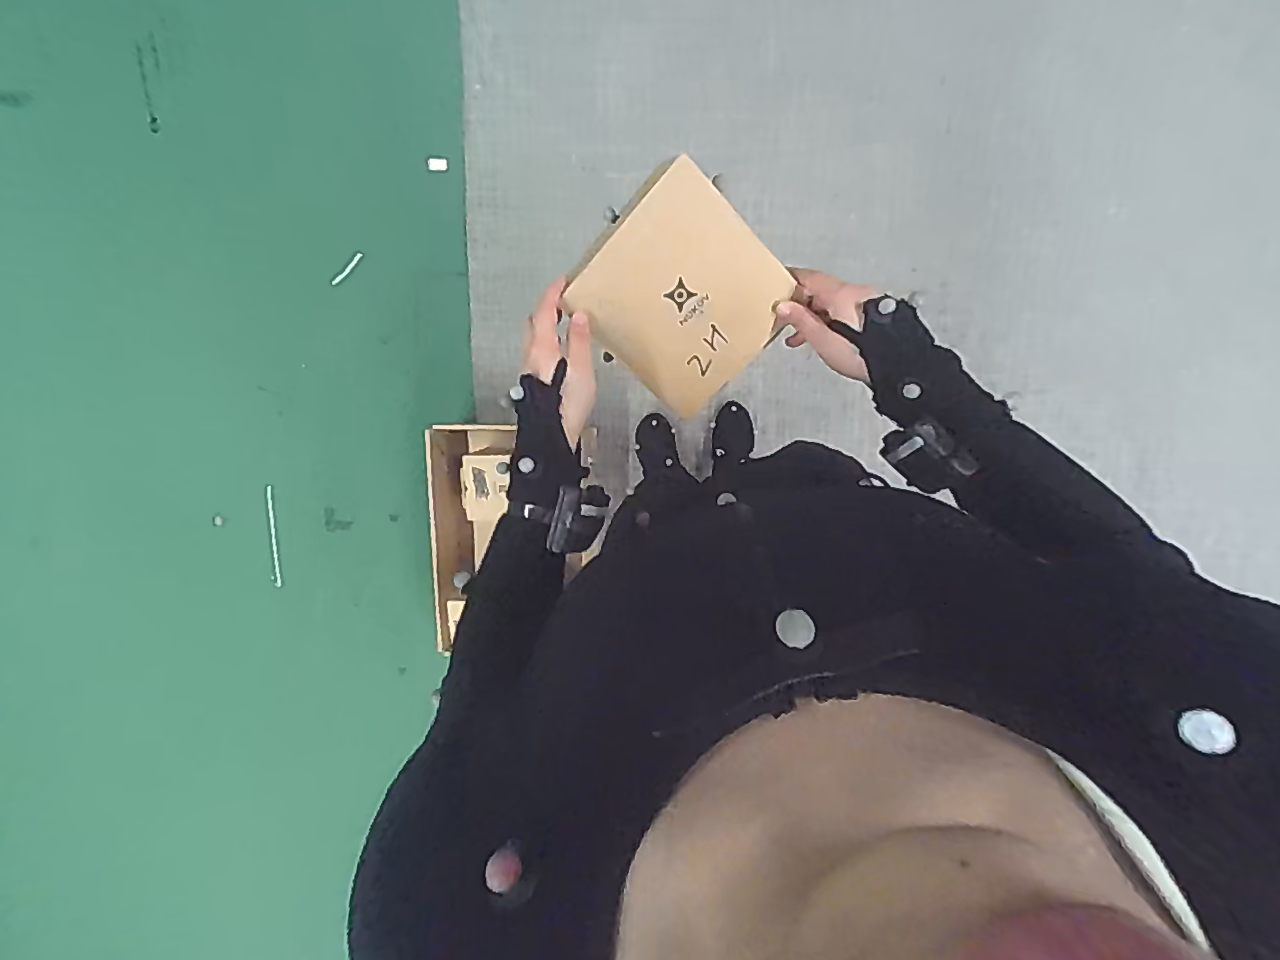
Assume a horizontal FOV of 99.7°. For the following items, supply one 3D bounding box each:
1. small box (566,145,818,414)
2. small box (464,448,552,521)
[{"bbox_3d":[0.044,-0.204,0.562,0.179,0.176,0.168,40,109,-22],"label":"small box"},{"bbox_3d":[-0.333,0.008,1.392,0.179,0.176,0.168,-1,100,3],"label":"small box"}]
